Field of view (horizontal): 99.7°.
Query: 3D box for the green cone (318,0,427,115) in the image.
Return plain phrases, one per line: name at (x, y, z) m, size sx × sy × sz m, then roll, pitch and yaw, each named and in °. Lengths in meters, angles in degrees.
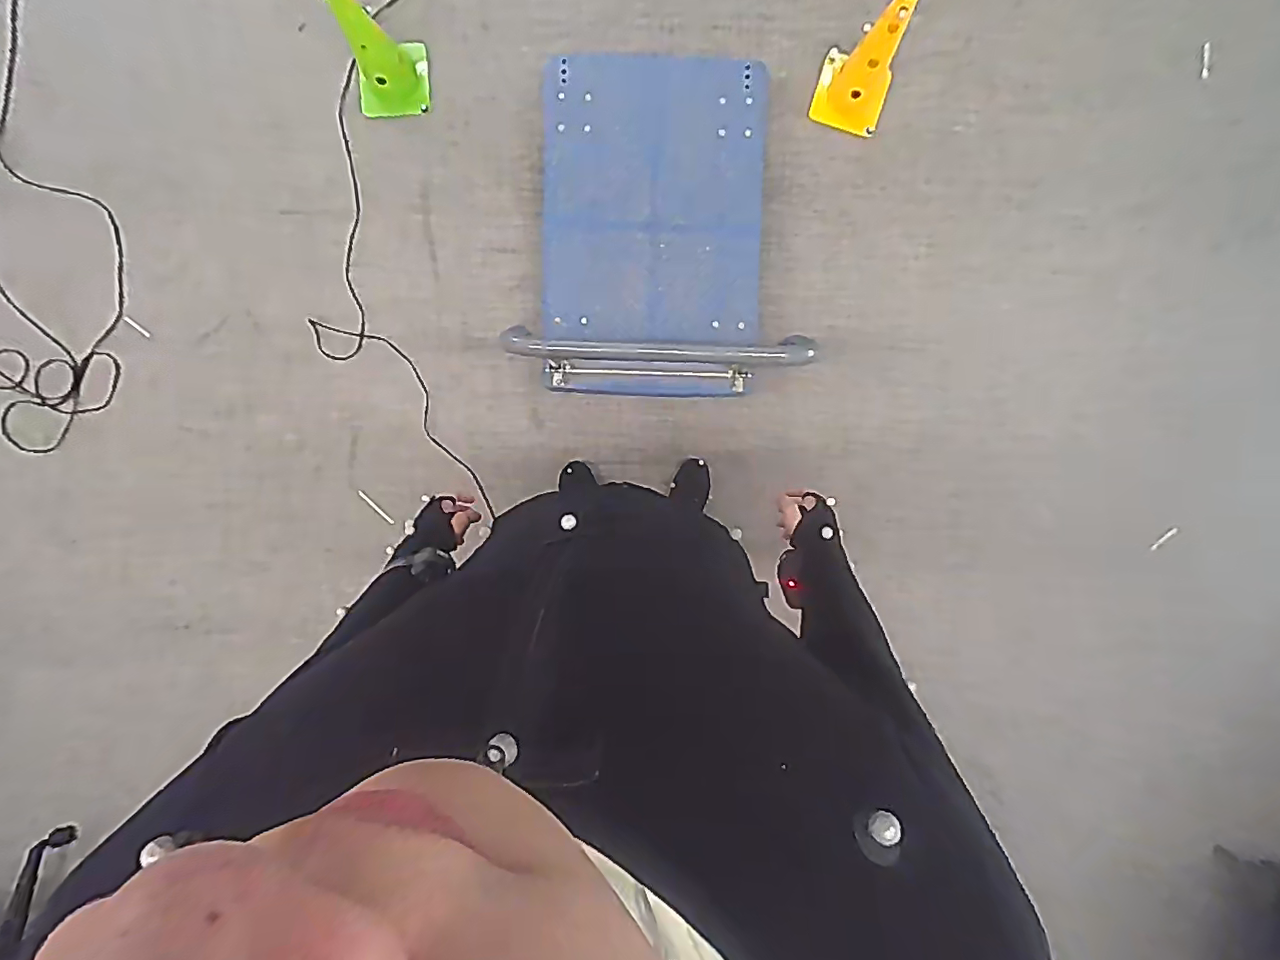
green cone at (-0.727, -1.158, 1.394) m, size 0.202 × 0.368 × 0.200 m, roll -4°, pitch 93°, yaw 2°
